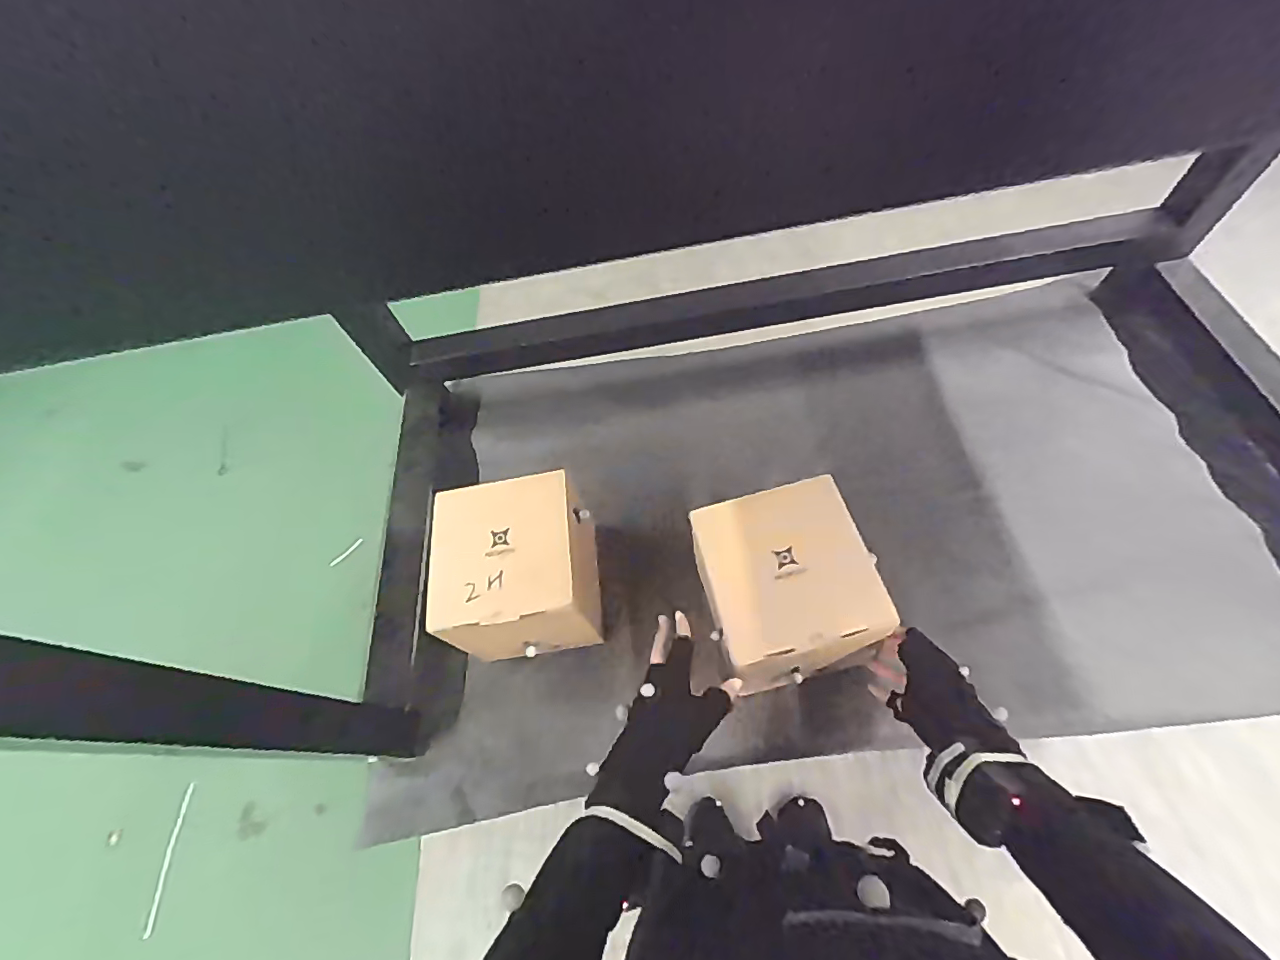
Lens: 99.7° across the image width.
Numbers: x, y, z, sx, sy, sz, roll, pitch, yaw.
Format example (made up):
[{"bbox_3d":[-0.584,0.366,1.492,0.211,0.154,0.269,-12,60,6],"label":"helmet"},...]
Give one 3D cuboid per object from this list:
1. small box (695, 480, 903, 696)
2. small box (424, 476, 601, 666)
[{"bbox_3d":[0.166,0.130,0.626,0.168,0.176,0.179,-15,59,0],"label":"small box"},{"bbox_3d":[-0.149,0.120,0.686,0.168,0.176,0.179,-10,59,4],"label":"small box"}]
